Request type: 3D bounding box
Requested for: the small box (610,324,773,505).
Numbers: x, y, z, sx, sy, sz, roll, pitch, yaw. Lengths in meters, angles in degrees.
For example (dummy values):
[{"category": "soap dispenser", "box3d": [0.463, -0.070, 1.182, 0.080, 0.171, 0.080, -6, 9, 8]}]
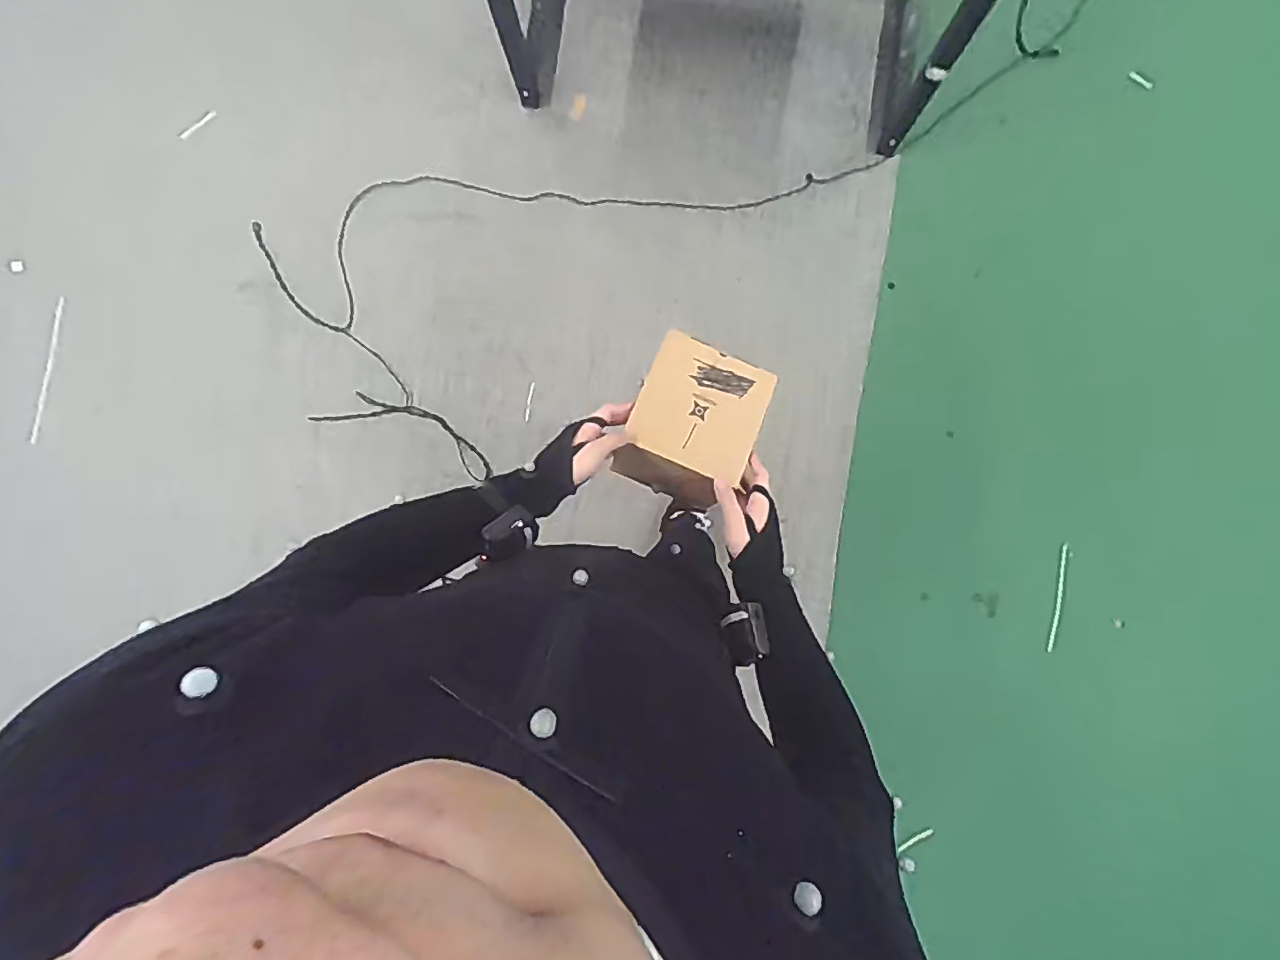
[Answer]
[{"category": "small box", "box3d": [0.064, -0.084, 0.777, 0.168, 0.176, 0.179, 23, 75, -2]}]
